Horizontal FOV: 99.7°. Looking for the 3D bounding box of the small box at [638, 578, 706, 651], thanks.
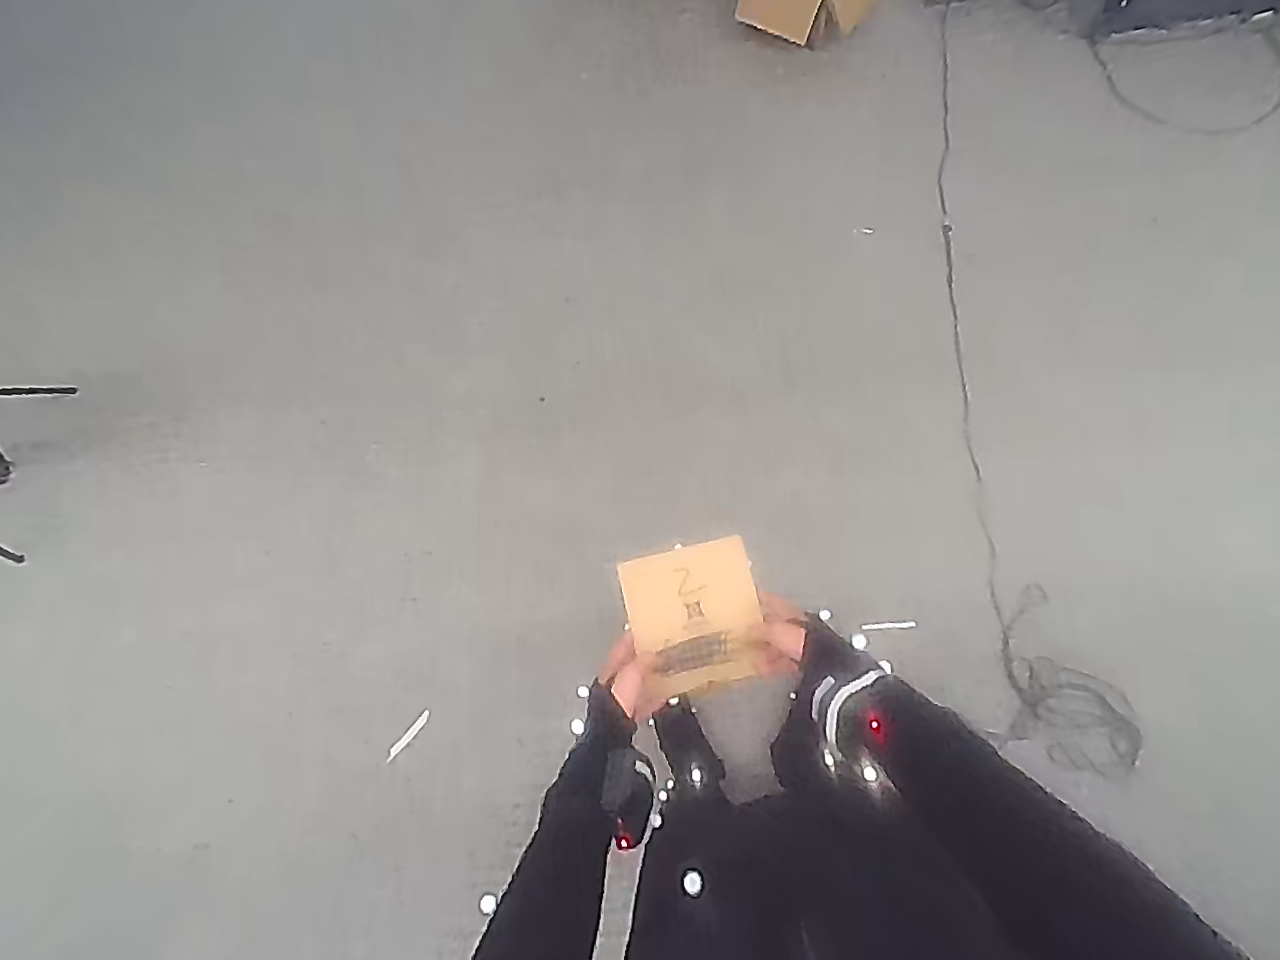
[{"bbox_3d":[0.085,0.352,1.405,0.168,0.176,0.179,-2,74,7],"label":"small box"}]
